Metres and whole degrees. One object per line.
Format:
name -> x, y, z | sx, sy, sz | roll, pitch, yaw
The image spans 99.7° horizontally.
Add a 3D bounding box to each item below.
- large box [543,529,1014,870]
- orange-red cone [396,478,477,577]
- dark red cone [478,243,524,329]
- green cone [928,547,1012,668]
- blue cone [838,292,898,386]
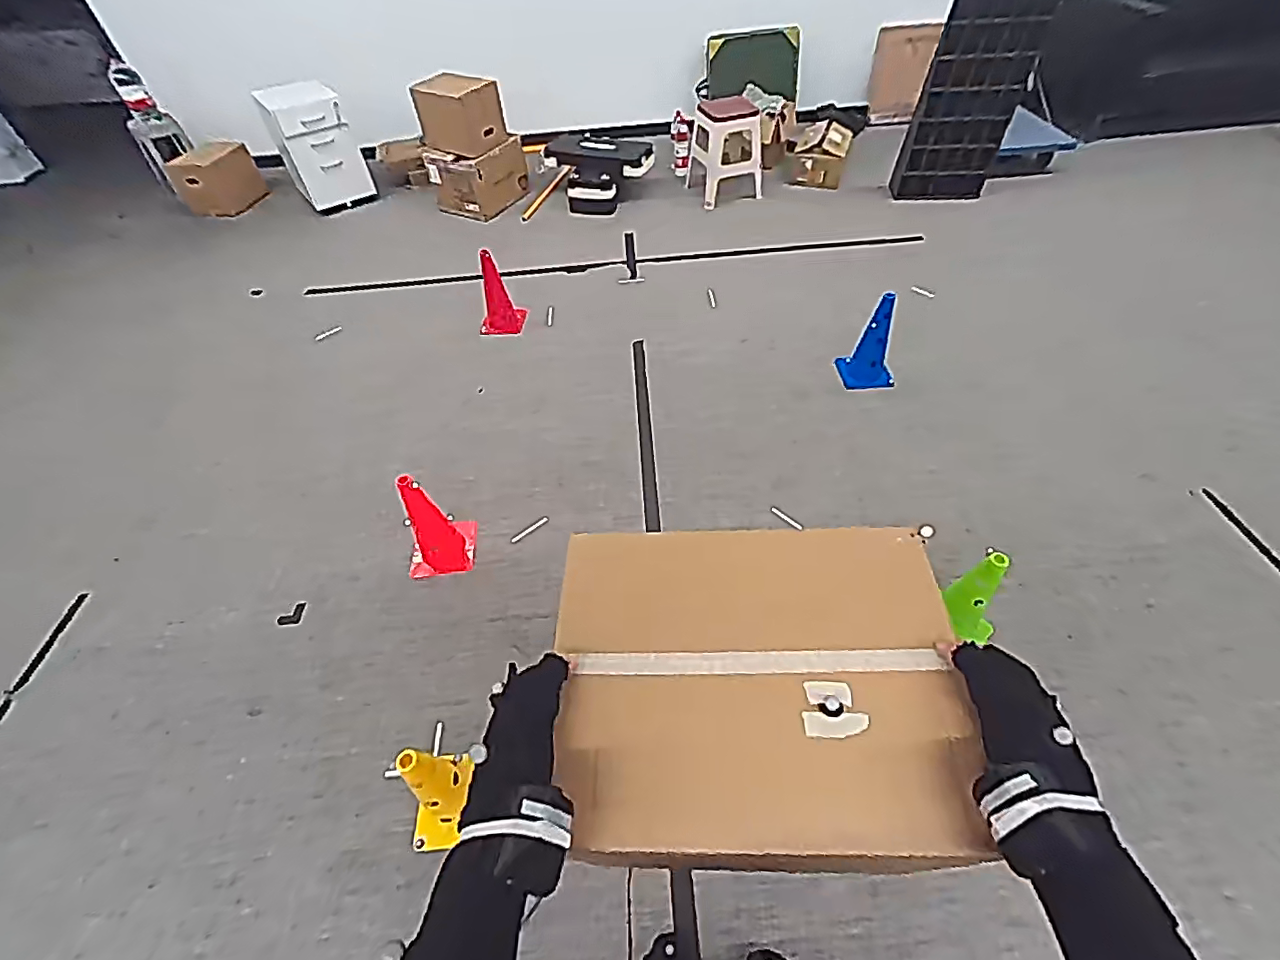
large box -> 0.122, 0.277, 0.661 | 0.408, 0.320, 0.320 | -2, 52, 4
orange-red cone -> -0.655, 0.119, 1.652 | 0.198, 0.360, 0.199 | -8, 51, -1
dark red cone -> -0.672, -0.887, 2.476 | 0.201, 0.394, 0.202 | 0, 50, 3
green cone -> 0.851, 0.292, 1.391 | 0.202, 0.368, 0.200 | -35, 56, -25
blue cone -> 0.930, -0.561, 2.131 | 0.192, 0.380, 0.193 | -2, 50, 1
